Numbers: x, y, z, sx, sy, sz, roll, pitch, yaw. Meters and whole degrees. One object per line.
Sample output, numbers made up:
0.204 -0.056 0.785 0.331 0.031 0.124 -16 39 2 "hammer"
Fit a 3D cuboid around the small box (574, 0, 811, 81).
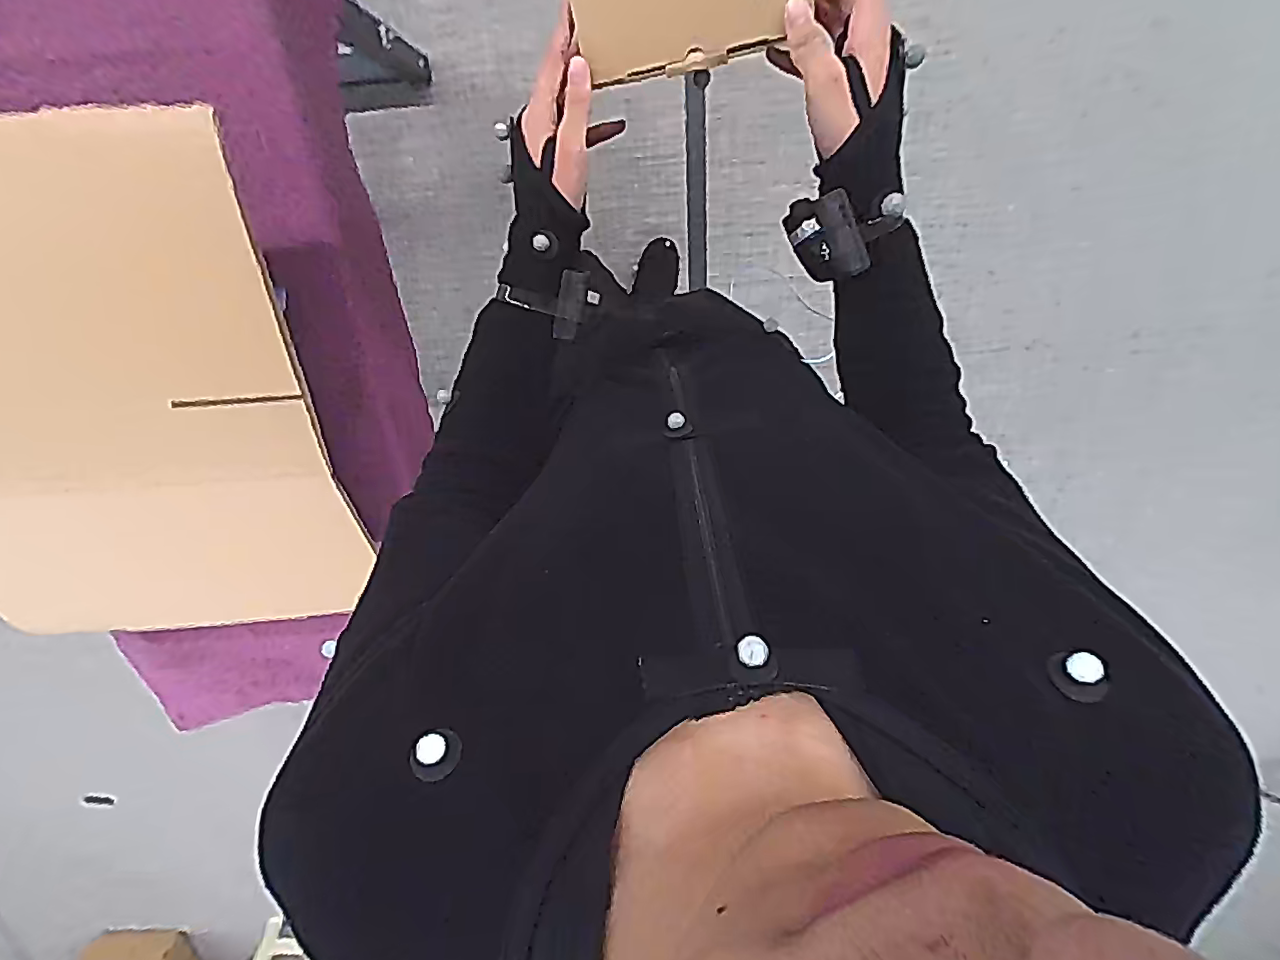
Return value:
0.037 -0.425 0.405 0.168 0.176 0.179 -4 127 12 "small box"
